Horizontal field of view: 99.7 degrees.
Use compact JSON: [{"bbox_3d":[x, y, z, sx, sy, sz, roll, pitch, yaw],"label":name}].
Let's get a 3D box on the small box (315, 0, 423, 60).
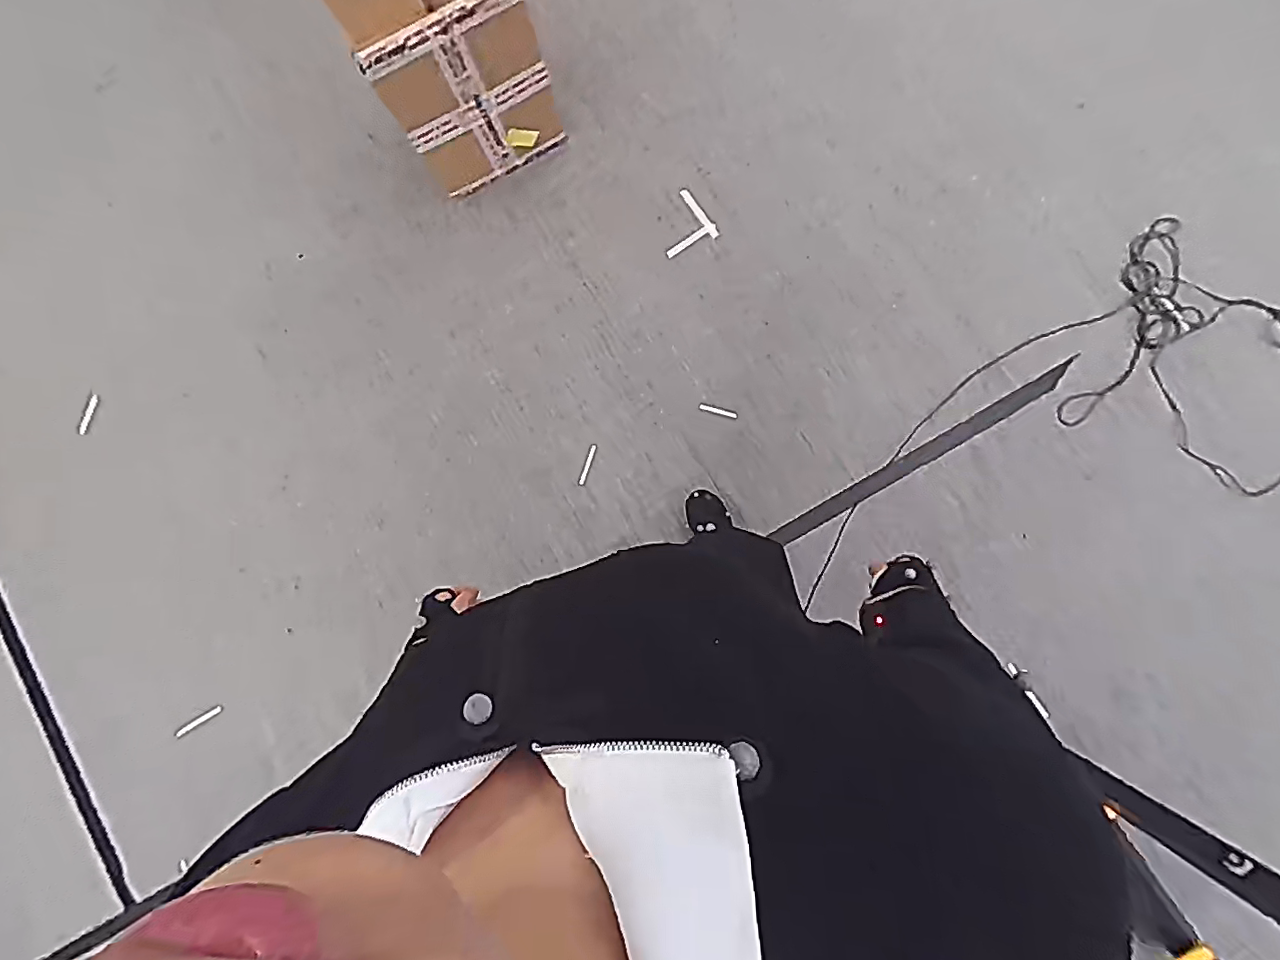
[{"bbox_3d":[-0.572,-1.026,1.108,0.179,0.176,0.168,-24,85,3],"label":"small box"}]
